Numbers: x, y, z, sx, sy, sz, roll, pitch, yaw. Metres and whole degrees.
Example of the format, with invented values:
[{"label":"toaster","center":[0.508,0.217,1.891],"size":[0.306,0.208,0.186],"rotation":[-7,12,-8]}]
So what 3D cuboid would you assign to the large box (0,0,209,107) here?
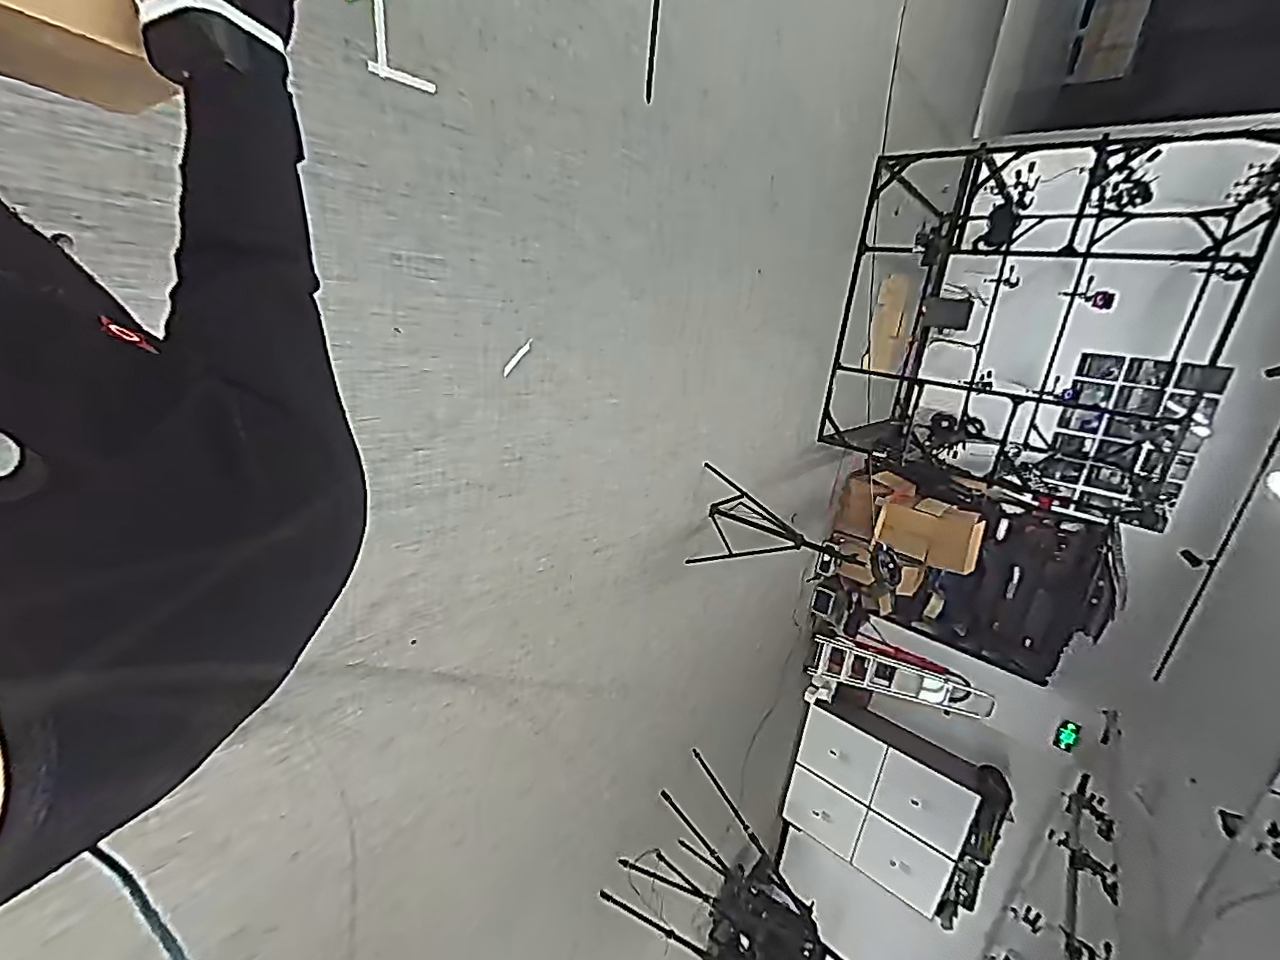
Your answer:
[{"label":"large box","center":[-0.537,-0.477,0.303],"size":[0.408,0.320,0.320],"rotation":[-7,114,-51]}]
